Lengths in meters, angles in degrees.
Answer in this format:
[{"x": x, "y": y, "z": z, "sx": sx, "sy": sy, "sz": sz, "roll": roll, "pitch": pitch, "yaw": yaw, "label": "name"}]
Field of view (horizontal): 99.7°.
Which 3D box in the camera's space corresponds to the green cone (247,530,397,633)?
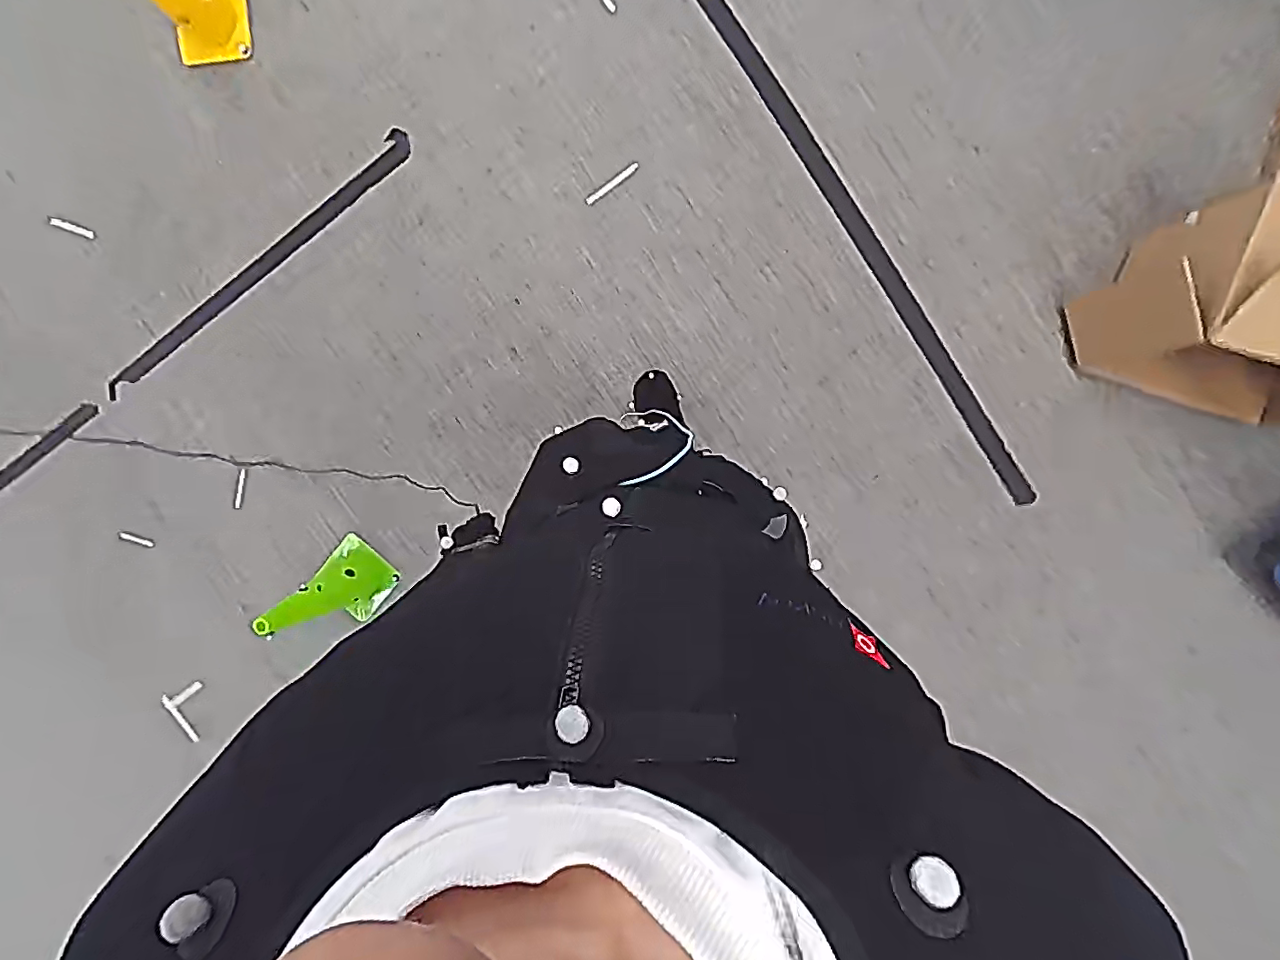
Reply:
[{"x": -0.841, "y": 0.295, "z": 1.388, "sx": 0.200, "sy": 0.368, "sz": 0.202, "roll": 42, "pitch": 101, "yaw": 1, "label": "green cone"}]
